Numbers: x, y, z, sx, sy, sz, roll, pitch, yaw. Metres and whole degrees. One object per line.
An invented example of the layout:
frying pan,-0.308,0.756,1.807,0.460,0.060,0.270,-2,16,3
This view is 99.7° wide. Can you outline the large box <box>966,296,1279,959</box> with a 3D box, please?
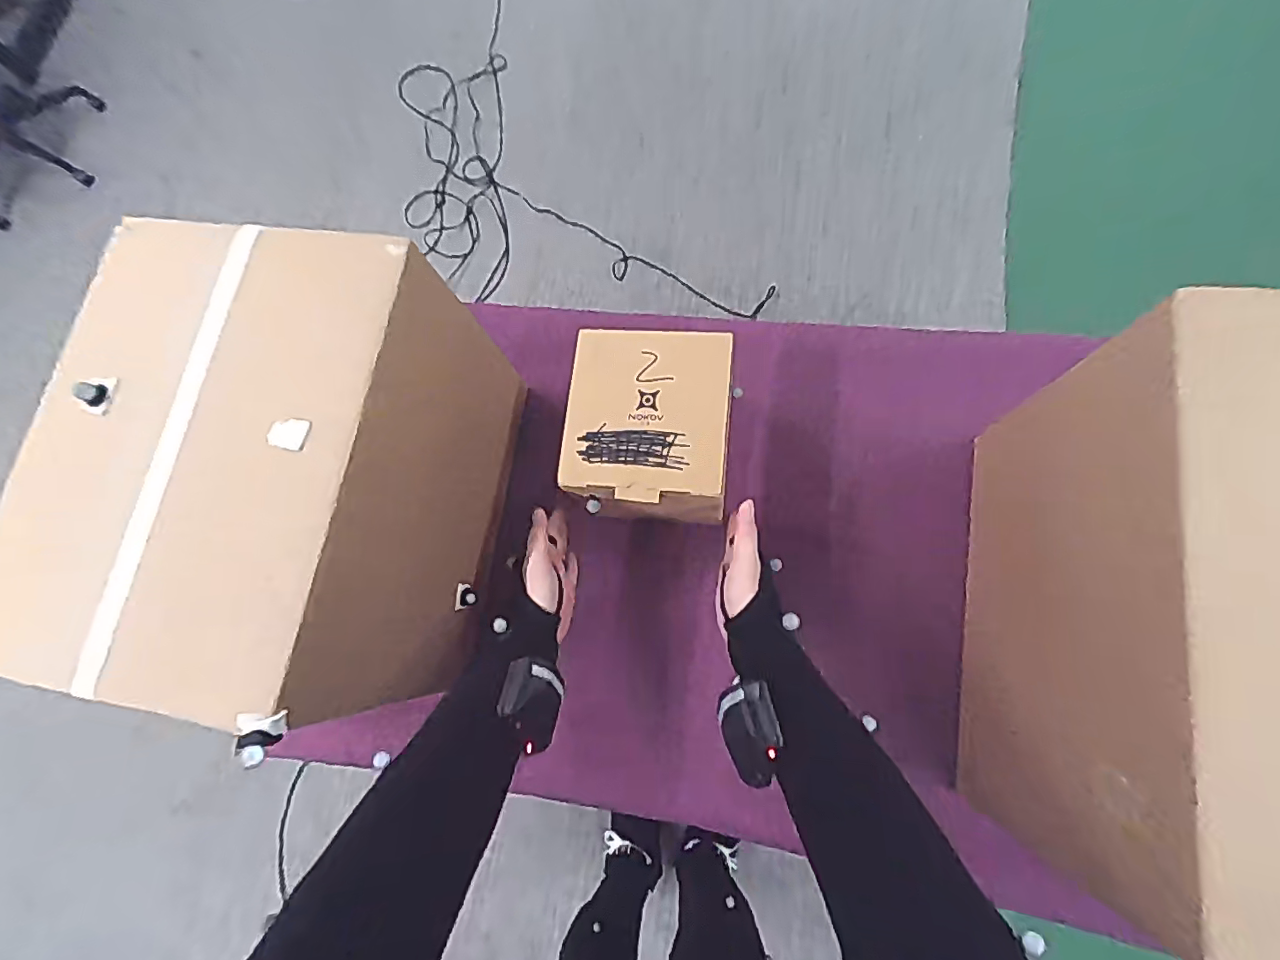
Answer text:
large box,0.497,0.118,0.440,0.320,0.320,0.408,8,78,11
